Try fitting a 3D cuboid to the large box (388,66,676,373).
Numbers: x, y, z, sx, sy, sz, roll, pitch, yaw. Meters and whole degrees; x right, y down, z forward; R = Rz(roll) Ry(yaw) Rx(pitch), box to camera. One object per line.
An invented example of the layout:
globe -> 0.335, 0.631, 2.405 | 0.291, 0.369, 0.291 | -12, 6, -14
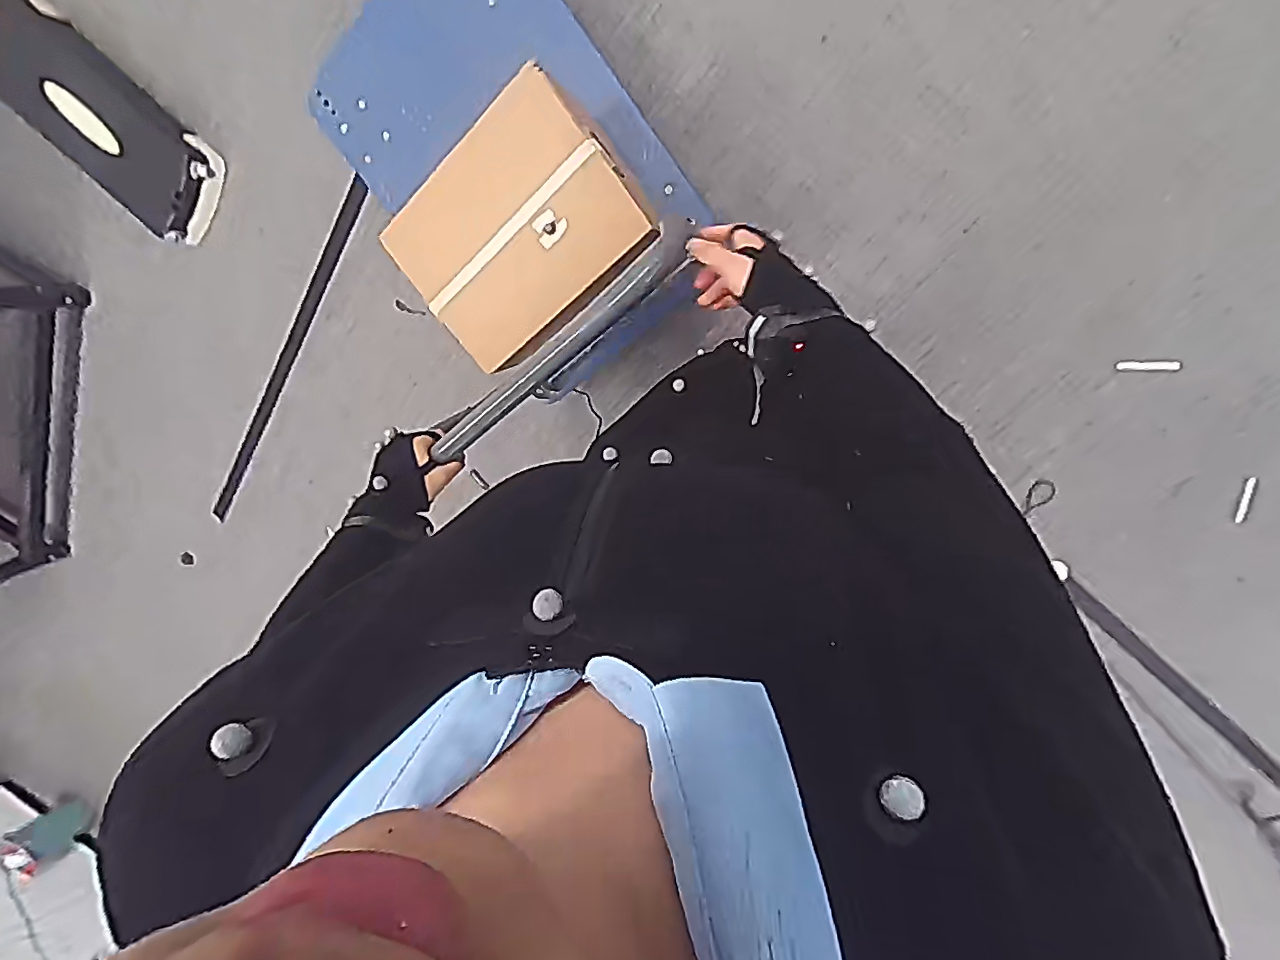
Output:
large box -> -0.191, -0.470, 1.071 | 0.408, 0.320, 0.320 | -35, 99, 20
